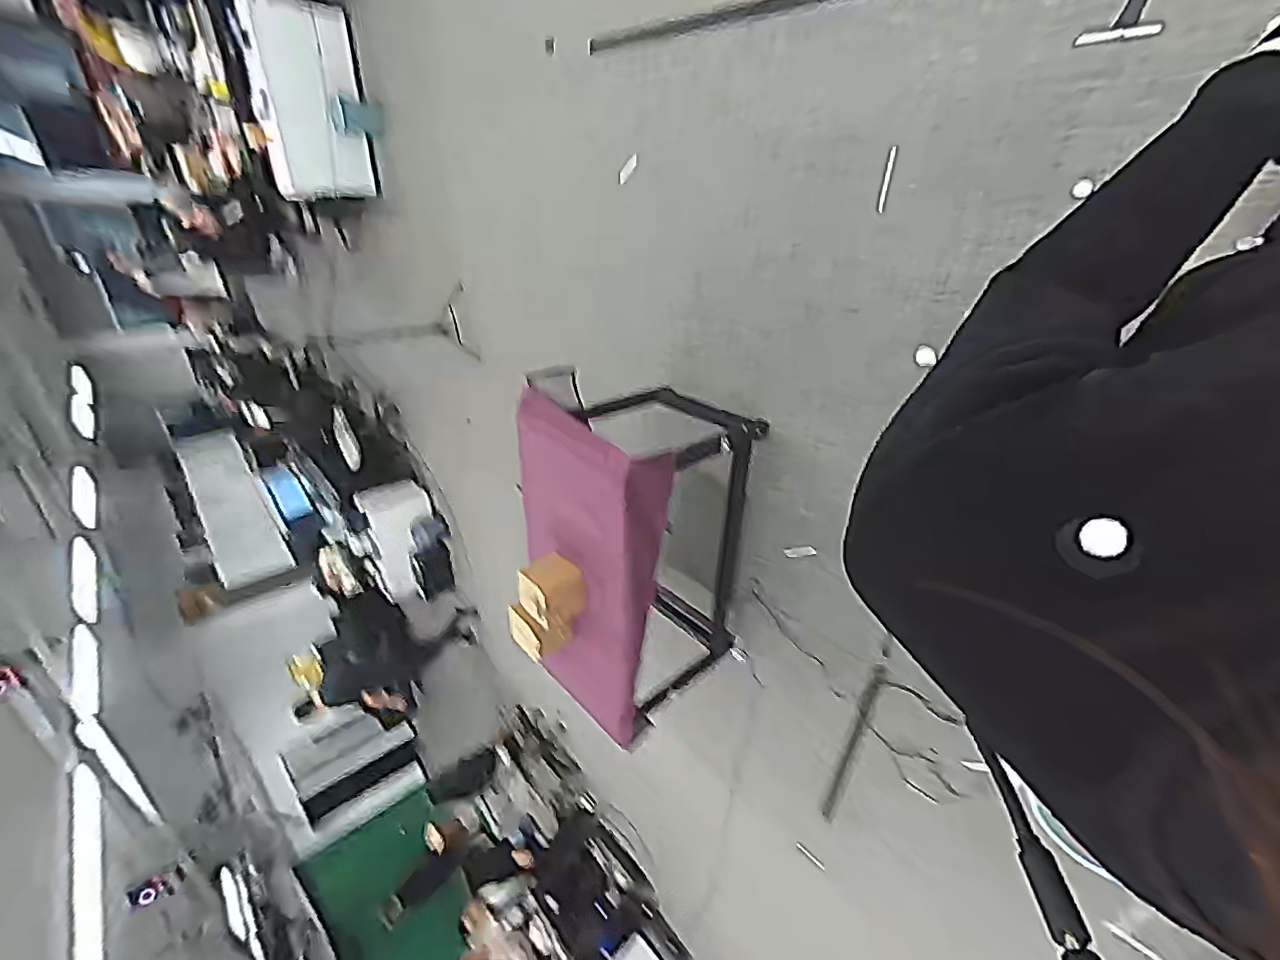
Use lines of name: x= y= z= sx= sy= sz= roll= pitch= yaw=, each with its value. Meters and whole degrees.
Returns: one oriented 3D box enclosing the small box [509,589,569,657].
small box: x=-0.396 y=0.554 z=2.130 sx=0.179 sy=0.176 sz=0.168 roll=27 pitch=127 yaw=40
